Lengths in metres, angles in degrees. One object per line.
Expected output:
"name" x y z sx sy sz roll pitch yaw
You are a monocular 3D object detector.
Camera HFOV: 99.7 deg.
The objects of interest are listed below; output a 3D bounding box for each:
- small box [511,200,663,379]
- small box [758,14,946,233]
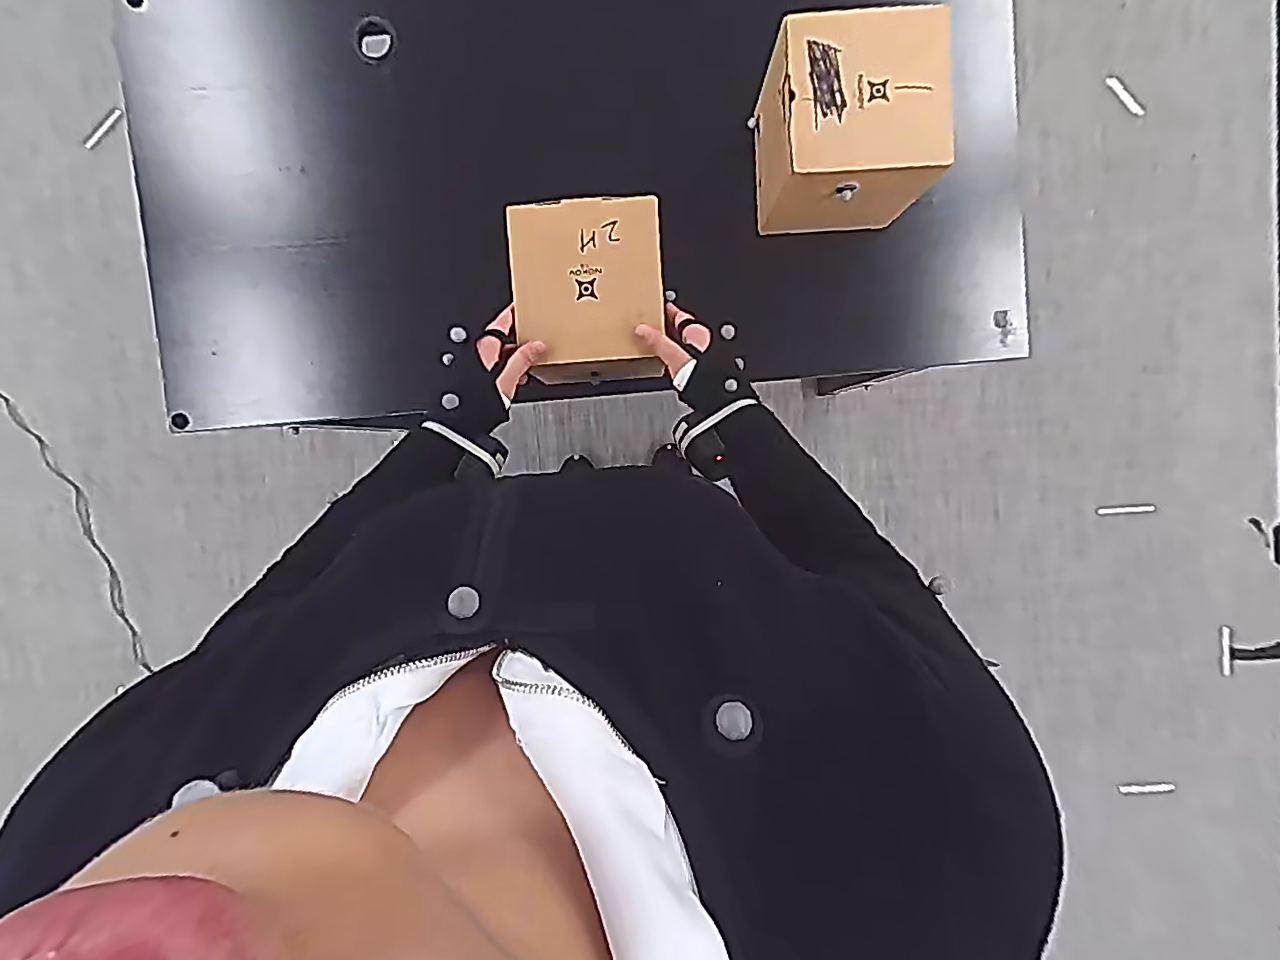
"small box" -0.056 -0.223 0.680 0.168 0.176 0.179 -3 93 1
"small box" 0.245 -0.419 0.665 0.179 0.176 0.168 -3 93 0
